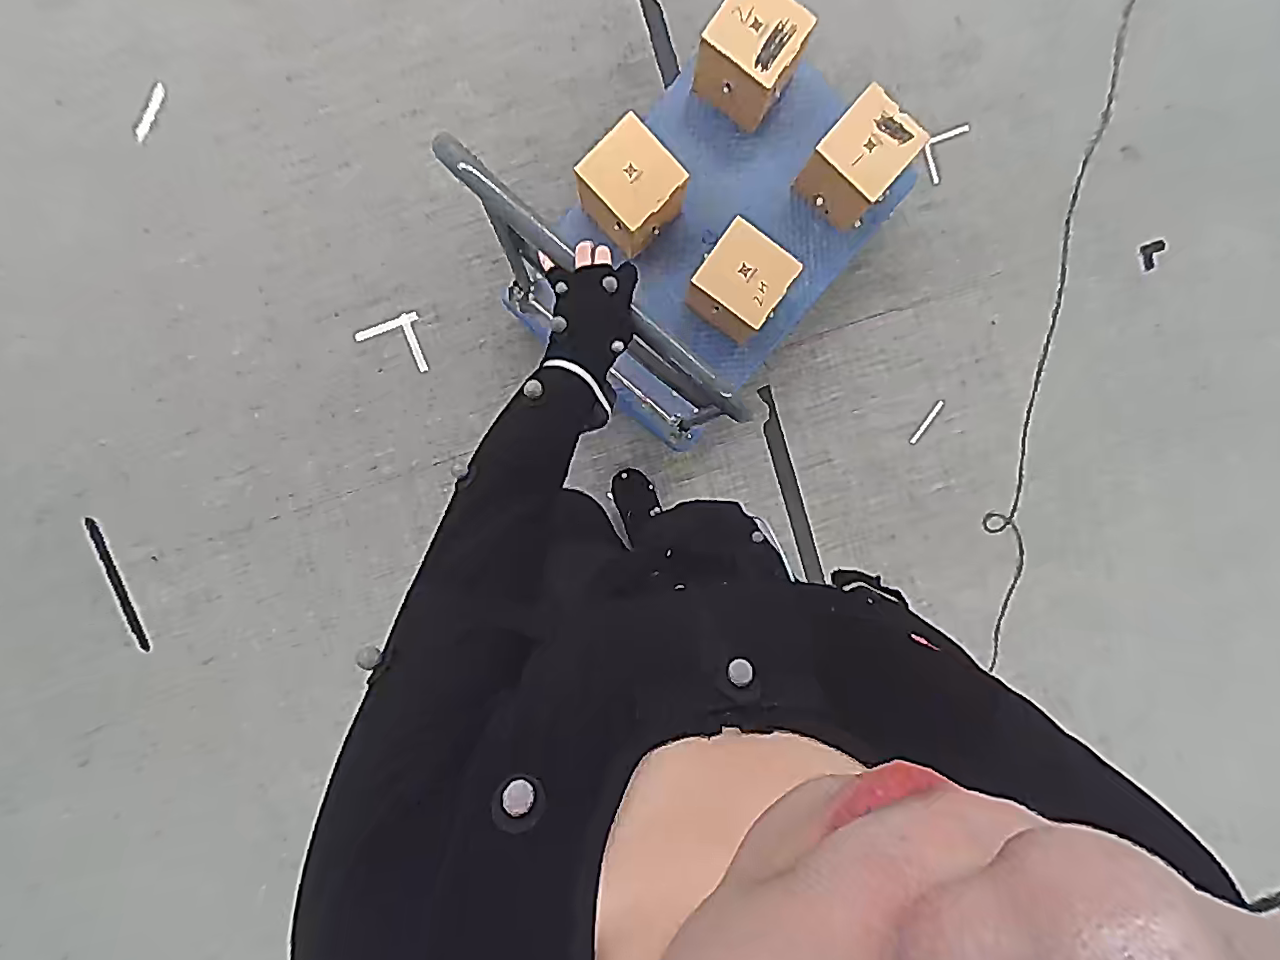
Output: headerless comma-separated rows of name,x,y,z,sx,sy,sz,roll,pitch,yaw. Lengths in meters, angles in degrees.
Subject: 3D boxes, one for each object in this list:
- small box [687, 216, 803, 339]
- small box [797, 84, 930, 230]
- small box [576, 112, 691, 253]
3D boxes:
small box,0.220,-0.432,1.191,0.179,0.176,0.168,36,93,-4
small box,0.473,-0.689,1.175,0.168,0.176,0.179,42,94,-4
small box,-0.018,-0.629,1.170,0.168,0.176,0.179,-45,96,2
